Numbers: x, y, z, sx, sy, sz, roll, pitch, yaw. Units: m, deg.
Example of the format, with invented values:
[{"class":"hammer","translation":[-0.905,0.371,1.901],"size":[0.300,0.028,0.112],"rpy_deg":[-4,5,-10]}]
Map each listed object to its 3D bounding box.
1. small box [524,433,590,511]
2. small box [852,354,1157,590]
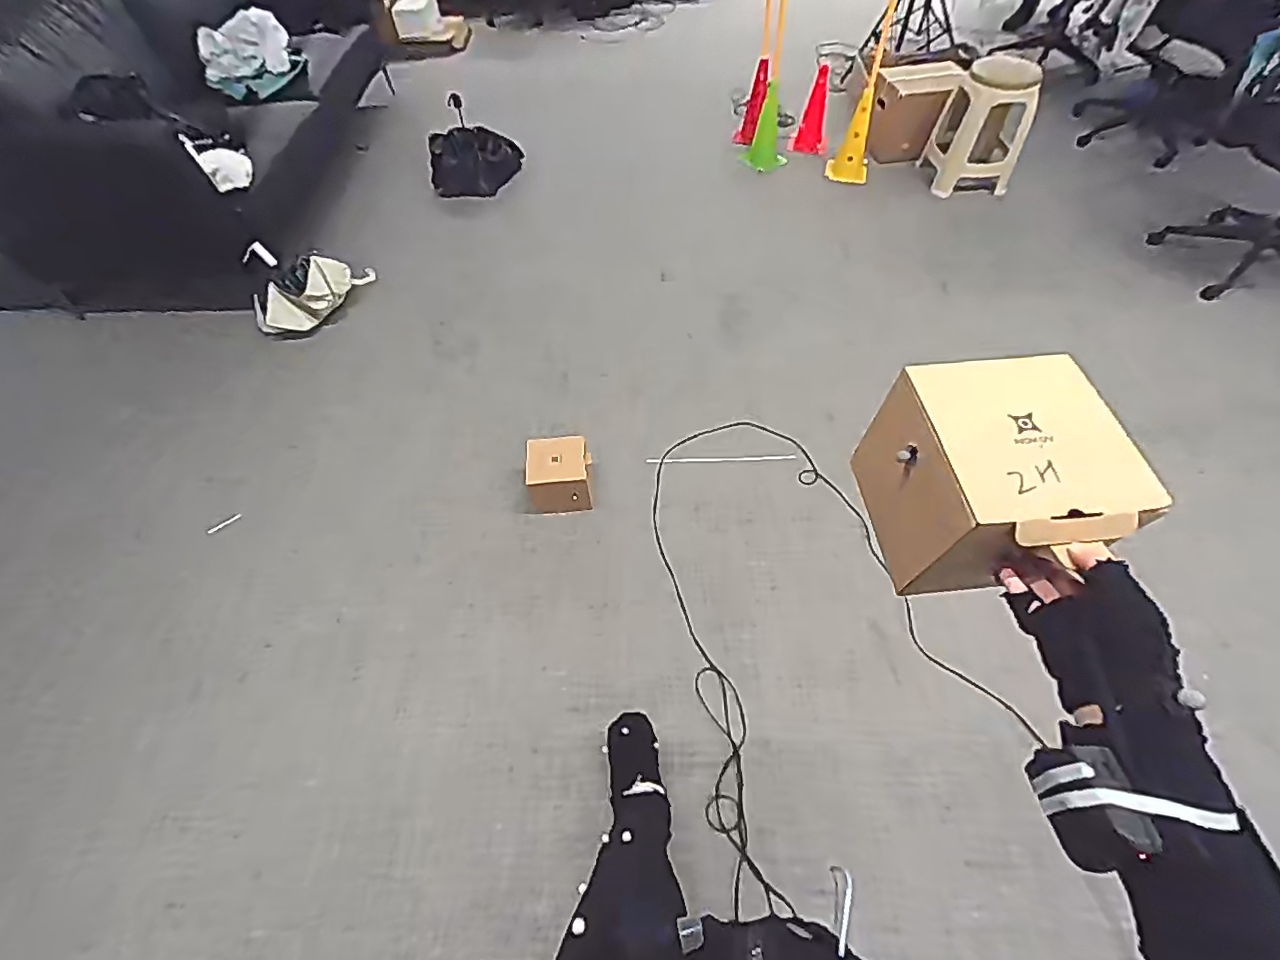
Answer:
[{"class":"small box","translation":[-0.244,-0.021,1.628],"size":[0.179,0.176,0.168],"rpy_deg":[-6,56,-1]},{"class":"small box","translation":[0.340,-0.004,0.554],"size":[0.168,0.176,0.179],"rpy_deg":[-5,59,-2]}]
